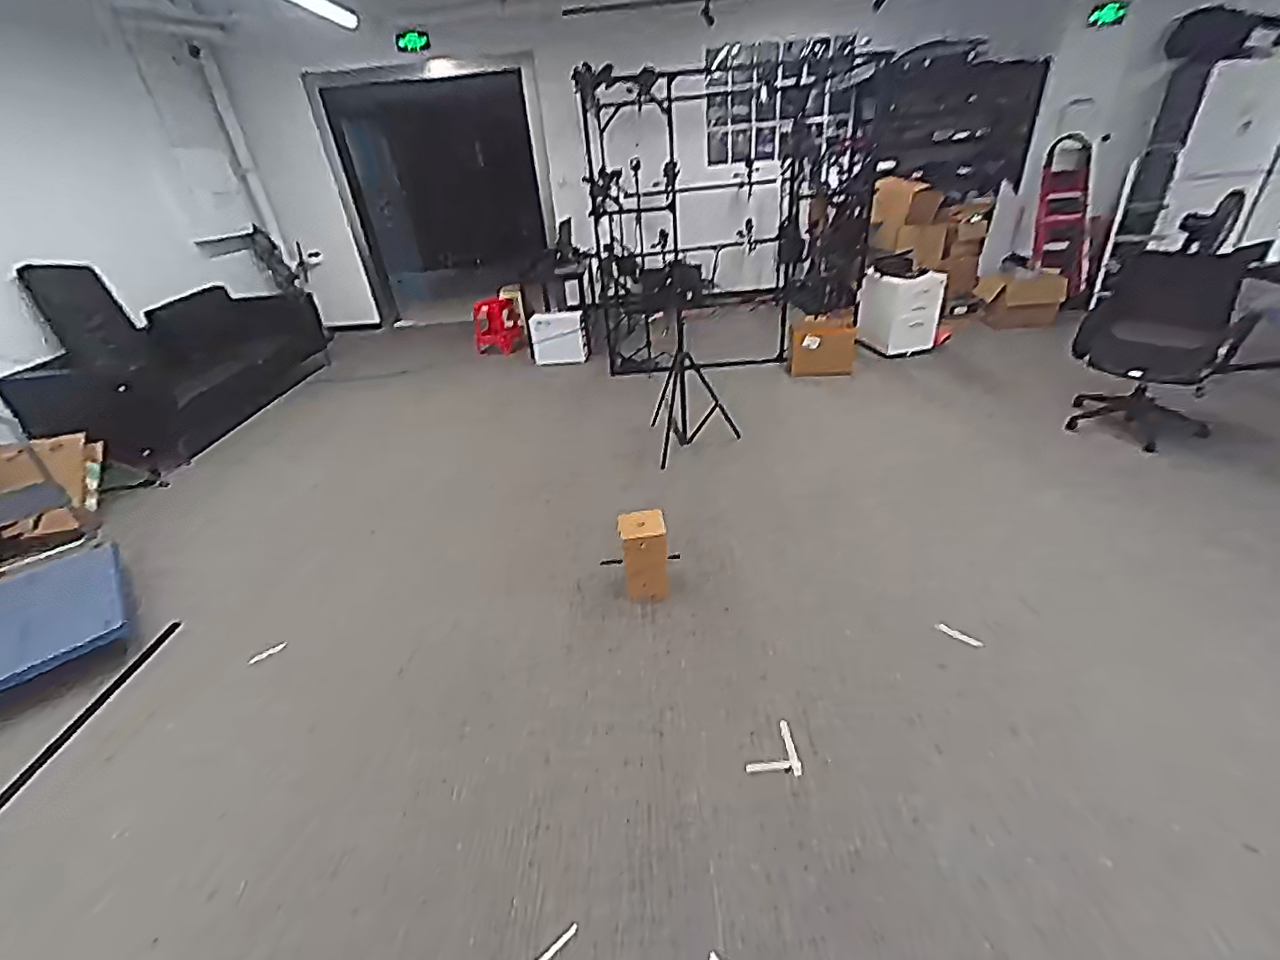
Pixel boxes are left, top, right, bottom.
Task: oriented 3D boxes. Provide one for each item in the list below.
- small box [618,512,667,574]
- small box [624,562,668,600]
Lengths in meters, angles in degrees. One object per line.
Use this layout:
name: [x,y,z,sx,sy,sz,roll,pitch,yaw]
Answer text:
small box: [0.010,0.250,2.145,0.179,0.176,0.168,-8,31,-3]
small box: [0.030,0.384,2.236,0.168,0.176,0.179,-3,30,4]
